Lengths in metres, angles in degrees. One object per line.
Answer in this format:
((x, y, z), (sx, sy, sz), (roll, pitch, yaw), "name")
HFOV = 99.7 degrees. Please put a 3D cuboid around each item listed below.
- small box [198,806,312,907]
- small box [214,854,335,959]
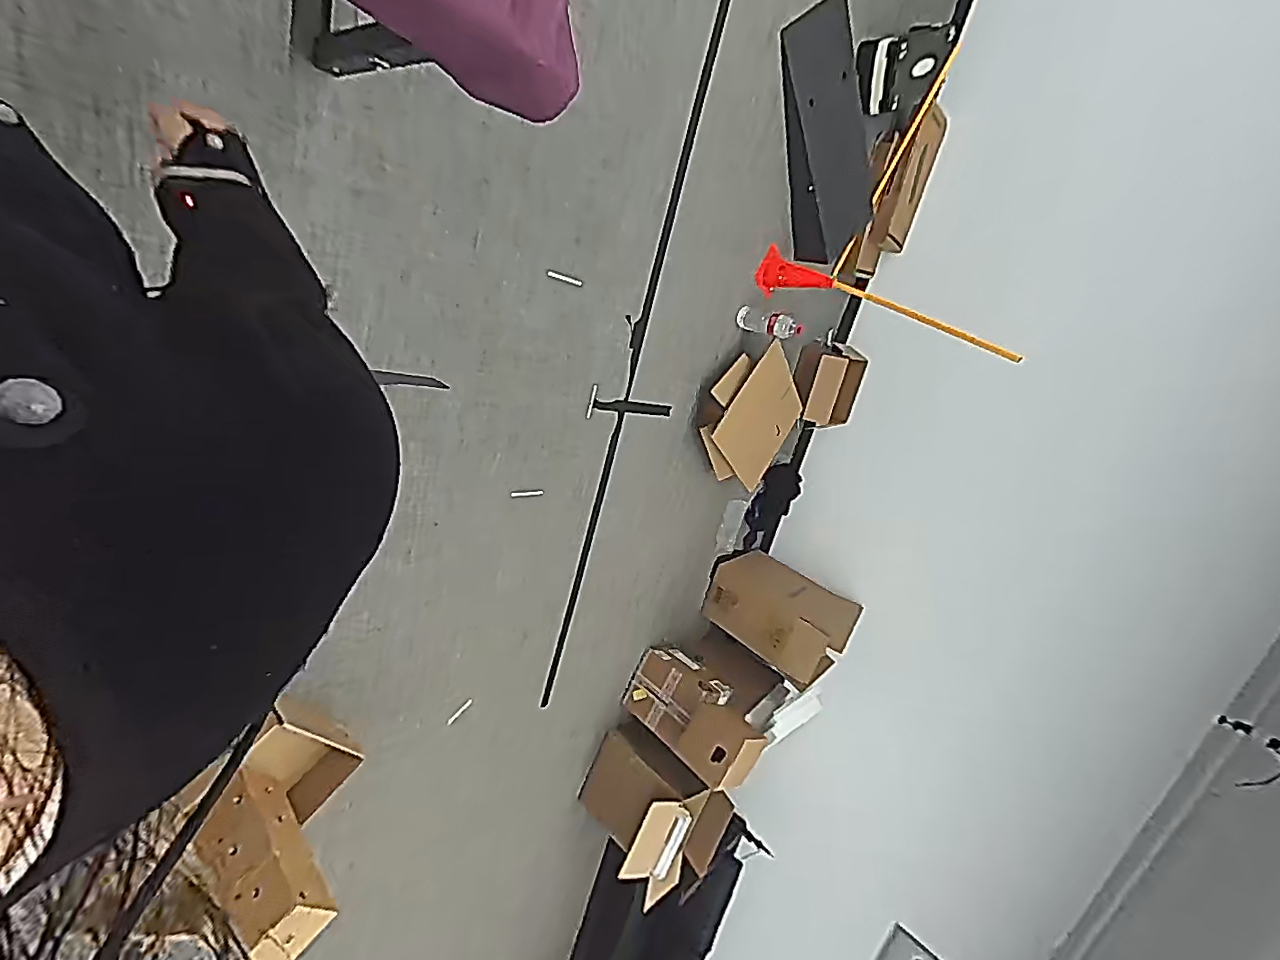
((-1.050, 1.029, 1.473), (0.168, 0.176, 0.179), (-43, 141, -24), "small box")
((-0.934, 1.103, 1.384), (0.168, 0.176, 0.179), (-44, 142, -23), "small box")
